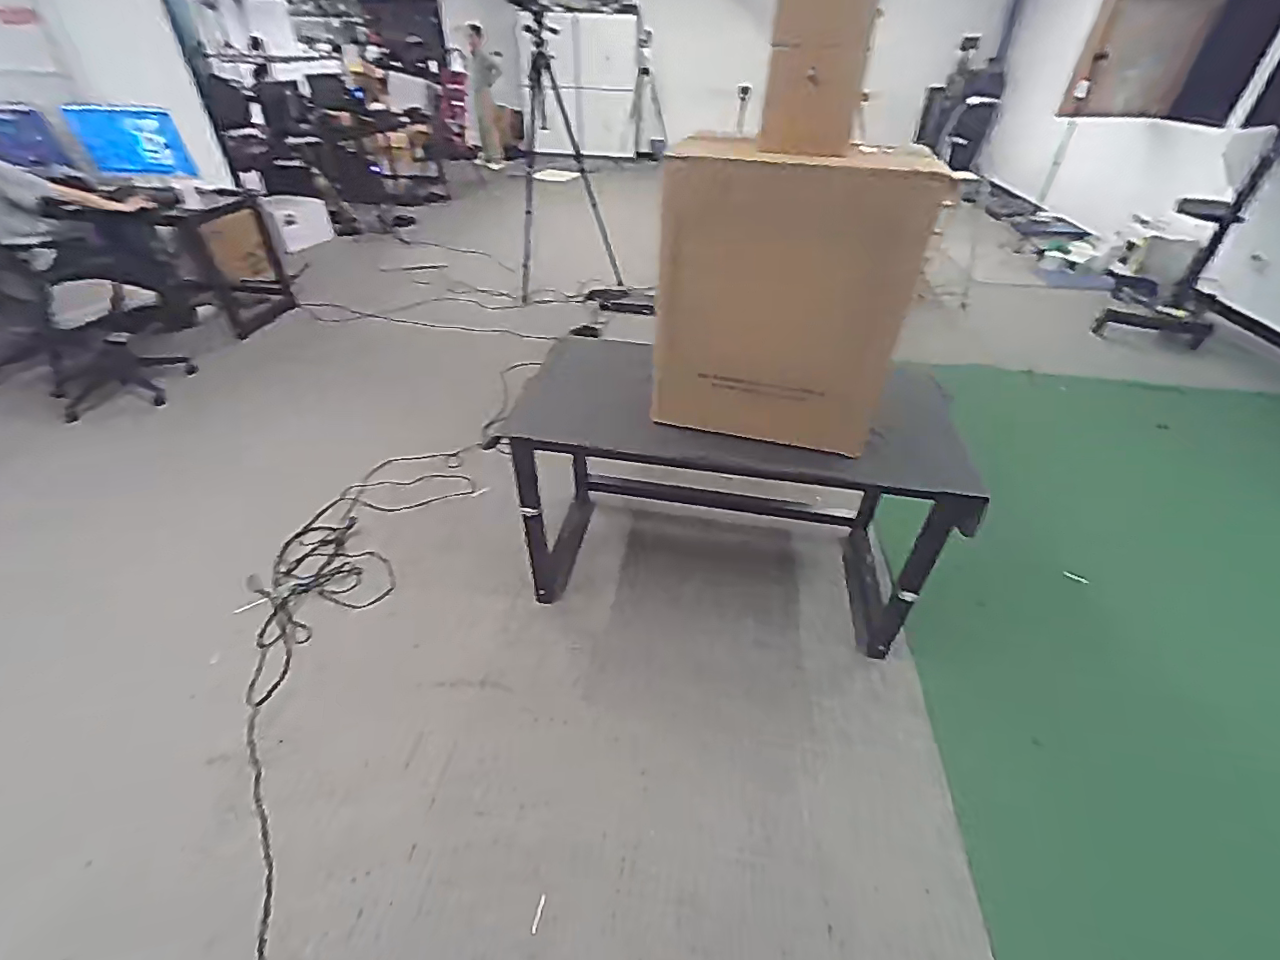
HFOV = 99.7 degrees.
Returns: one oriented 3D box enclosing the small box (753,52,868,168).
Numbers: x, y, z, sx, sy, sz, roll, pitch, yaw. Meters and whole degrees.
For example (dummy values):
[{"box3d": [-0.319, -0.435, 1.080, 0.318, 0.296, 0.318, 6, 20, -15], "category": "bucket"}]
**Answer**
[{"box3d": [0.329, -0.719, 1.052, 0.179, 0.176, 0.168, 11, 42, 12], "category": "small box"}]
